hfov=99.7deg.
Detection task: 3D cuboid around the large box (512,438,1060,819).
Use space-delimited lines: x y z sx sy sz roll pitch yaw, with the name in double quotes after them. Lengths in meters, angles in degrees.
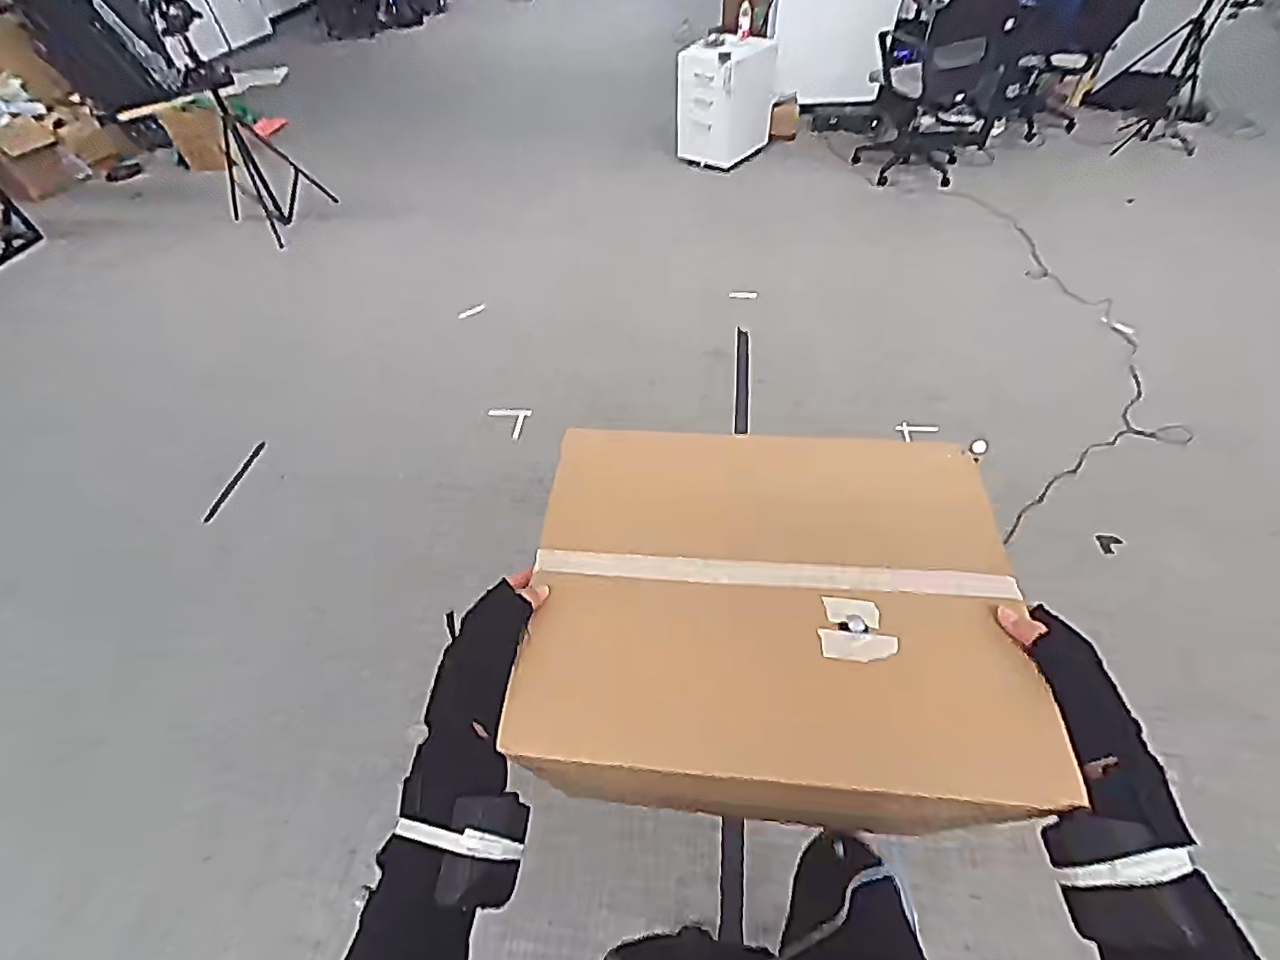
0.115 0.171 0.598 0.408 0.320 0.320 3 56 5 "large box"
